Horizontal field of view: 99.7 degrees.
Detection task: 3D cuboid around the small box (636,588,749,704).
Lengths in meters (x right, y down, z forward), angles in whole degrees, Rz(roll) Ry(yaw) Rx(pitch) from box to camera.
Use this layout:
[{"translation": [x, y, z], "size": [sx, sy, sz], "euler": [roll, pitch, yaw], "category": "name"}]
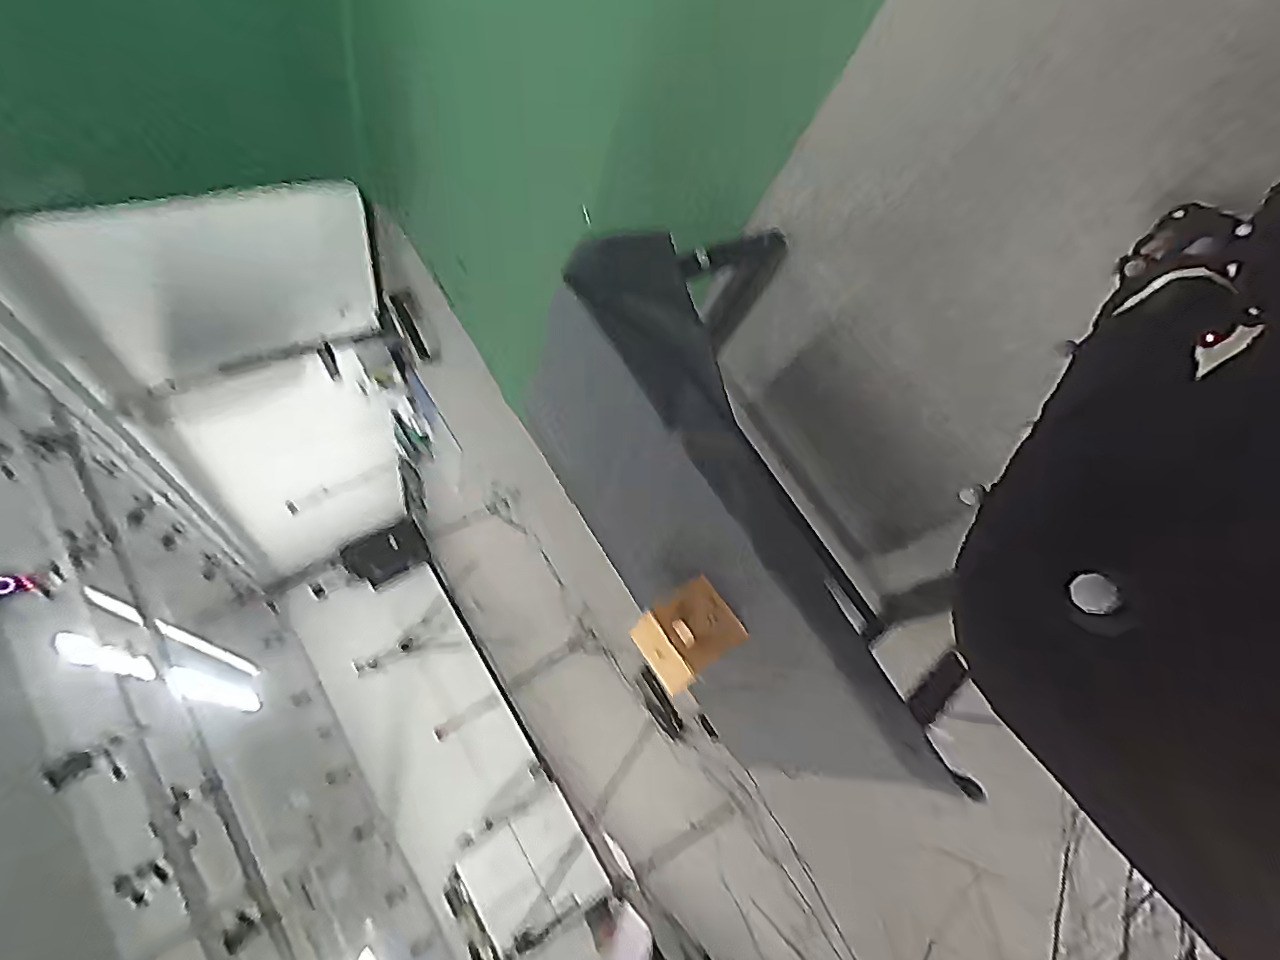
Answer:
[{"translation": [0.119, 0.379, 1.236], "size": [0.168, 0.176, 0.179], "euler": [52, 148, 19], "category": "small box"}]
